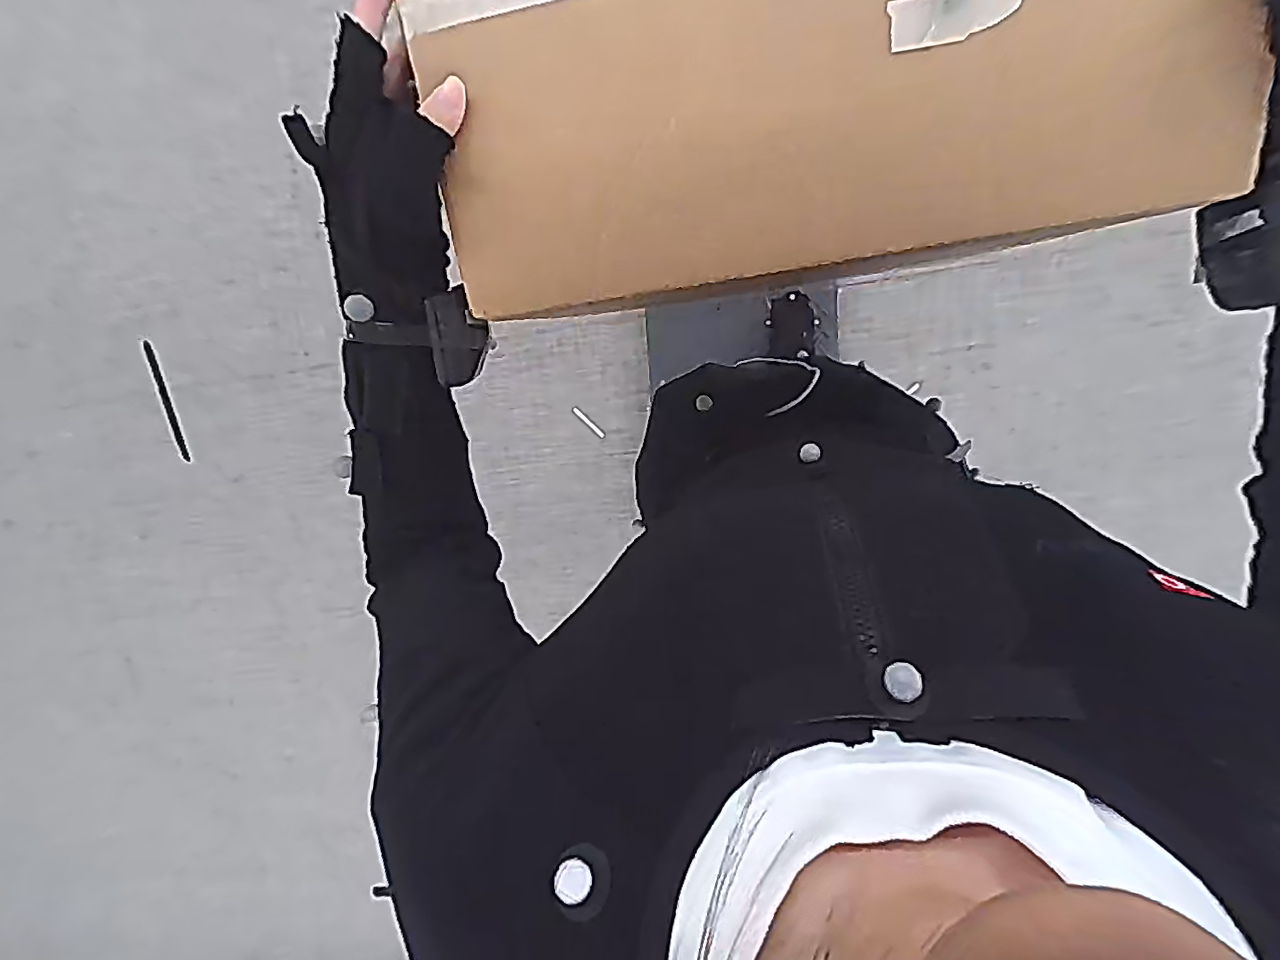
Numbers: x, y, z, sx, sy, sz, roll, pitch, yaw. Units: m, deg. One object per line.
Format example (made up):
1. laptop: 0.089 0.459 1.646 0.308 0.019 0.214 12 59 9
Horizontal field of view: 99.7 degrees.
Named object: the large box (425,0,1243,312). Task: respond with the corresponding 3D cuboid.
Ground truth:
1. large box: 0.093 -0.319 0.407 0.408 0.320 0.320 -7 107 9
